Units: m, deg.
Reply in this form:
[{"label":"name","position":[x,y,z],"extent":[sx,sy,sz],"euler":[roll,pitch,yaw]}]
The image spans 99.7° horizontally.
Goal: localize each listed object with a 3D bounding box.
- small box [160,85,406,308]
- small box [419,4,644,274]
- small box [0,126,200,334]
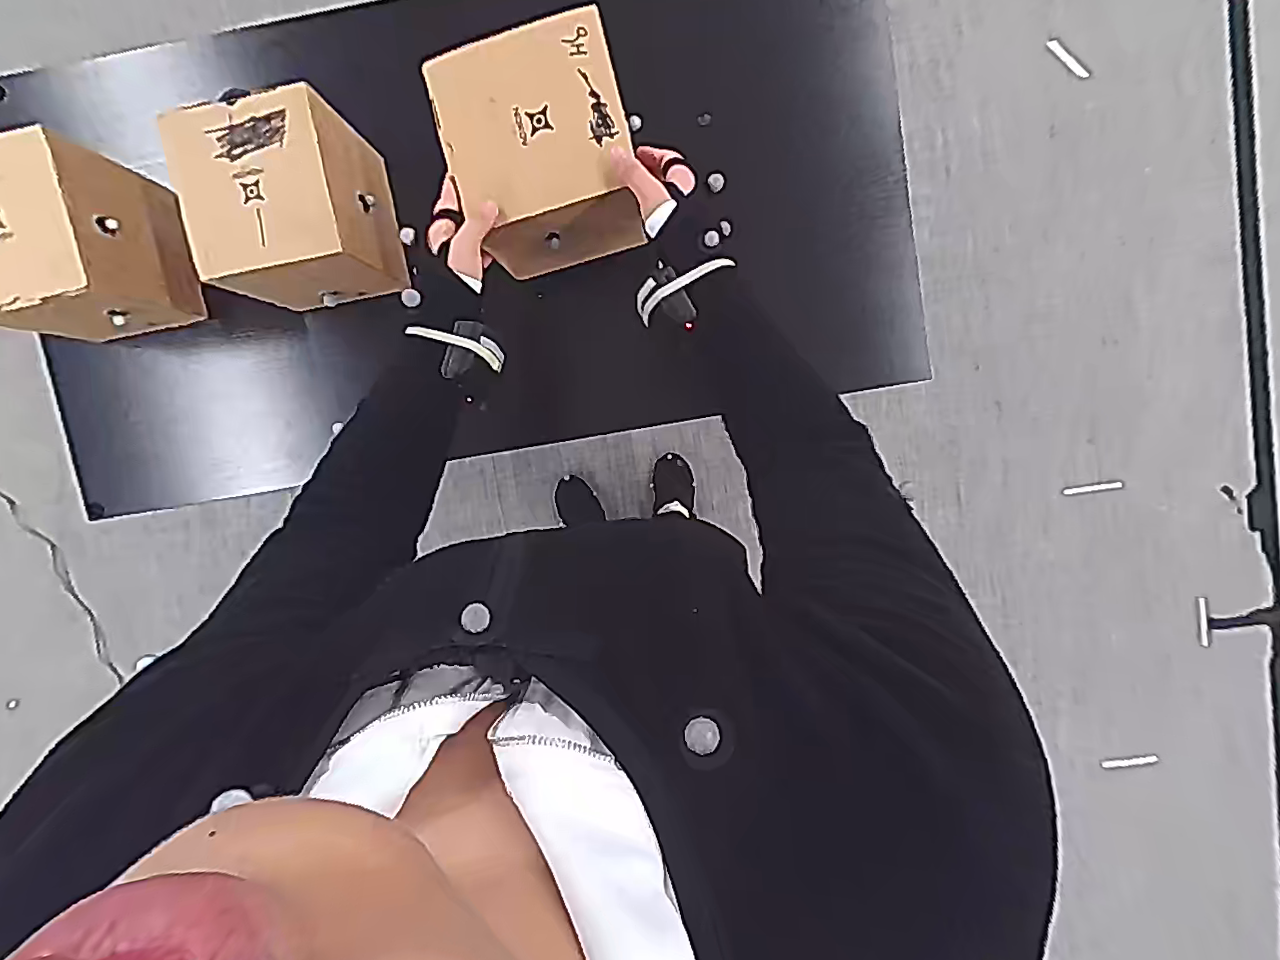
[{"label":"small box","position":[-0.411,-0.324,0.655],"extent":[0.168,0.176,0.179],"euler":[-10,96,2]},{"label":"small box","position":[-0.102,-0.343,0.585],"extent":[0.179,0.176,0.168],"euler":[-14,94,5]},{"label":"small box","position":[-0.696,-0.286,0.664],"extent":[0.168,0.176,0.179],"euler":[-11,95,1]}]
